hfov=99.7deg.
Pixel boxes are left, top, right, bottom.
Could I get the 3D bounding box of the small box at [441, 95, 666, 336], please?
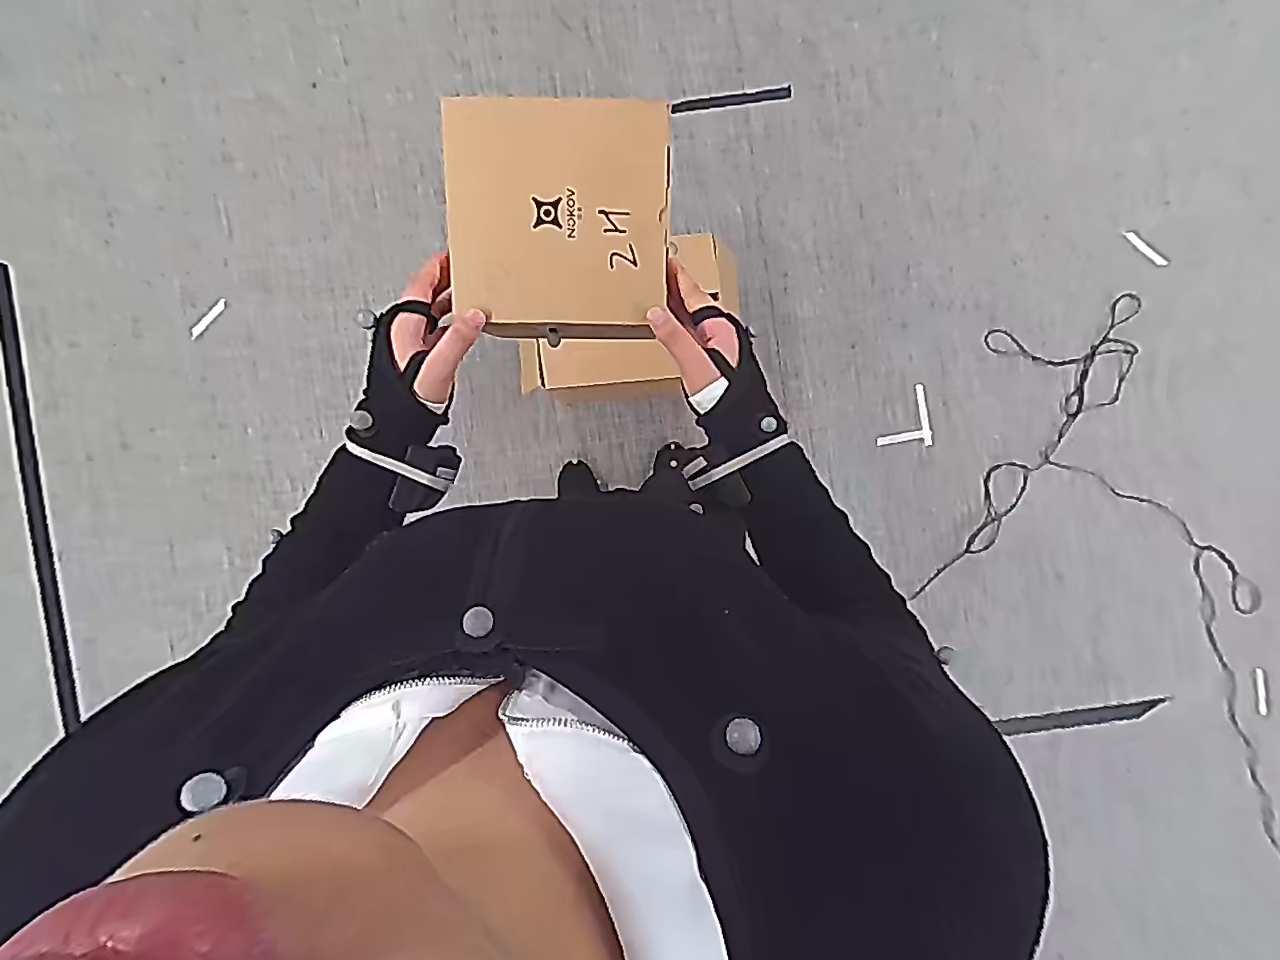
[{"bbox_3d":[-0.068,-0.226,0.506,0.179,0.176,0.168,0,101,-2],"label":"small box"}]
